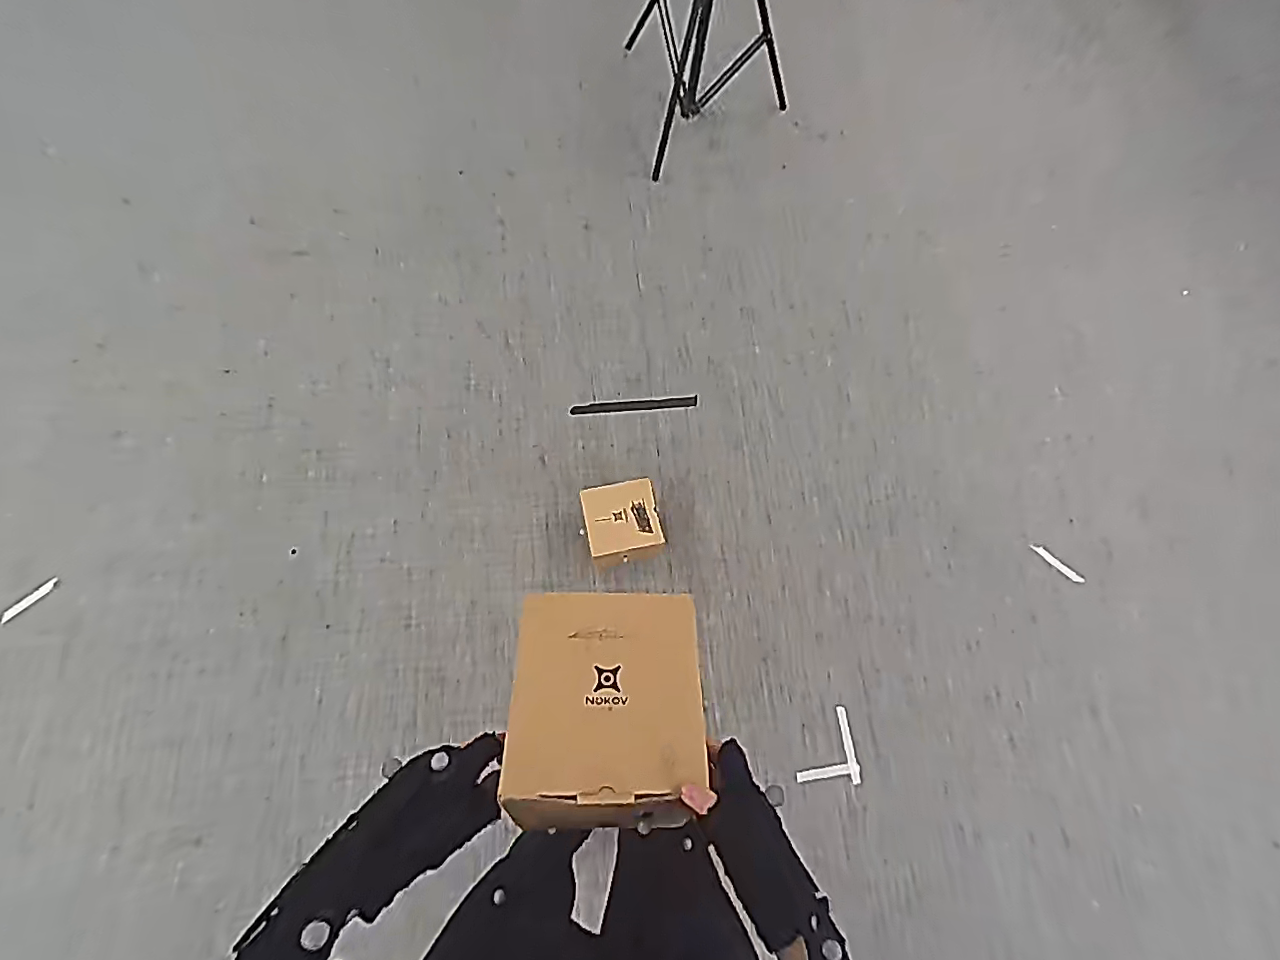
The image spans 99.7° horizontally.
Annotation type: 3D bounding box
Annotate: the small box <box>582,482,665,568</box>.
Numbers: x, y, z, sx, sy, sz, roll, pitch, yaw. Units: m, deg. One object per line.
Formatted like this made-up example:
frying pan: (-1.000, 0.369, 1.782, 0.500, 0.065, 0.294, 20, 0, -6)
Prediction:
small box: (-0.046, 0.116, 1.349, 0.179, 0.176, 0.168, -10, 73, -7)
